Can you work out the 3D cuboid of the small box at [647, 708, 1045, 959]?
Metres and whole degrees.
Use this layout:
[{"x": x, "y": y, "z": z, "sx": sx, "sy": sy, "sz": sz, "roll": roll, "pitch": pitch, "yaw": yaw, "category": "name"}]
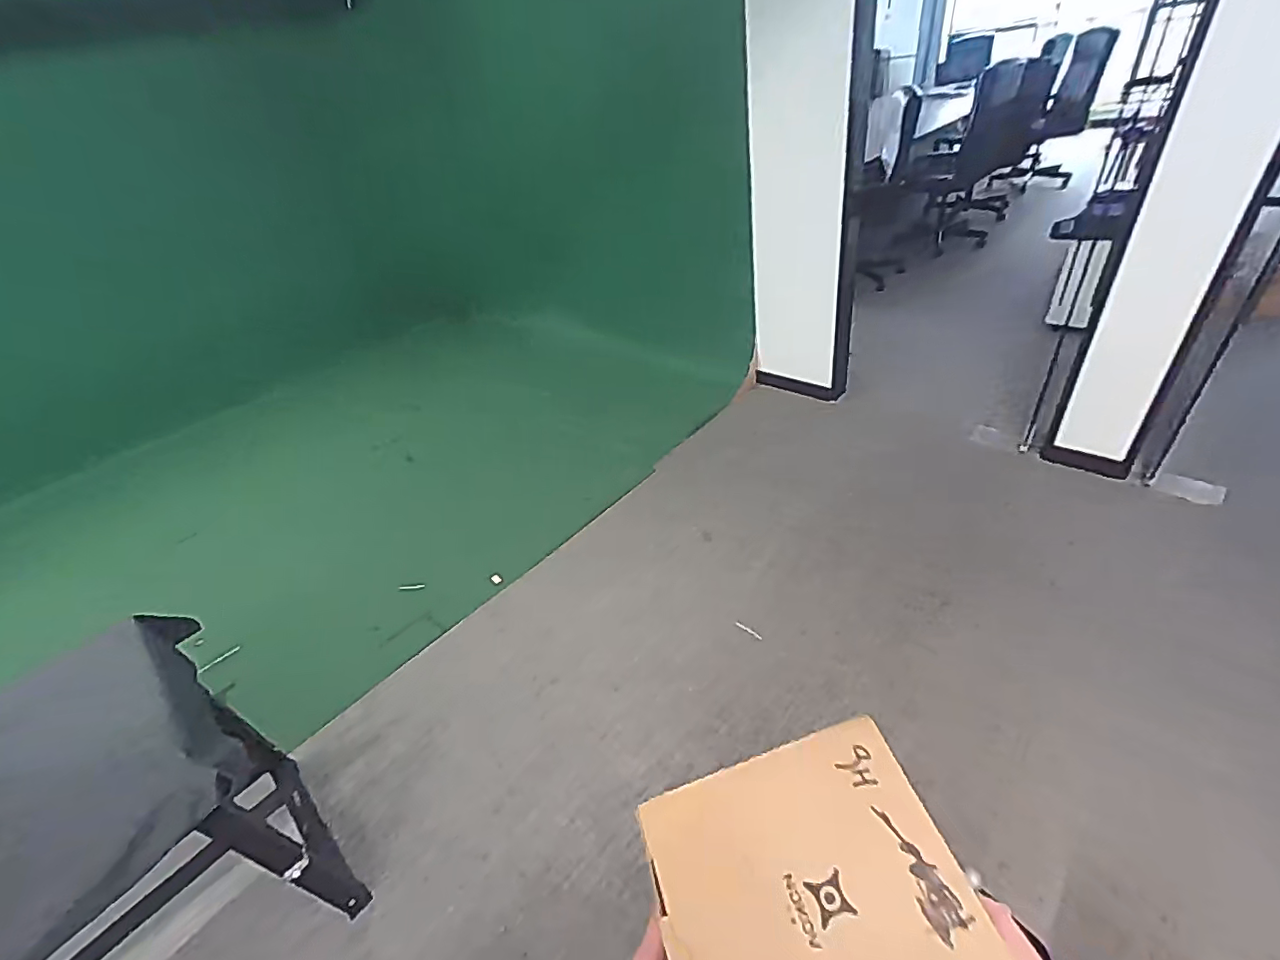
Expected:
[{"x": 0.119, "y": 0.287, "z": 0.359, "sx": 0.179, "sy": 0.176, "sz": 0.168, "roll": -18, "pitch": 48, "yaw": -6, "category": "small box"}]
